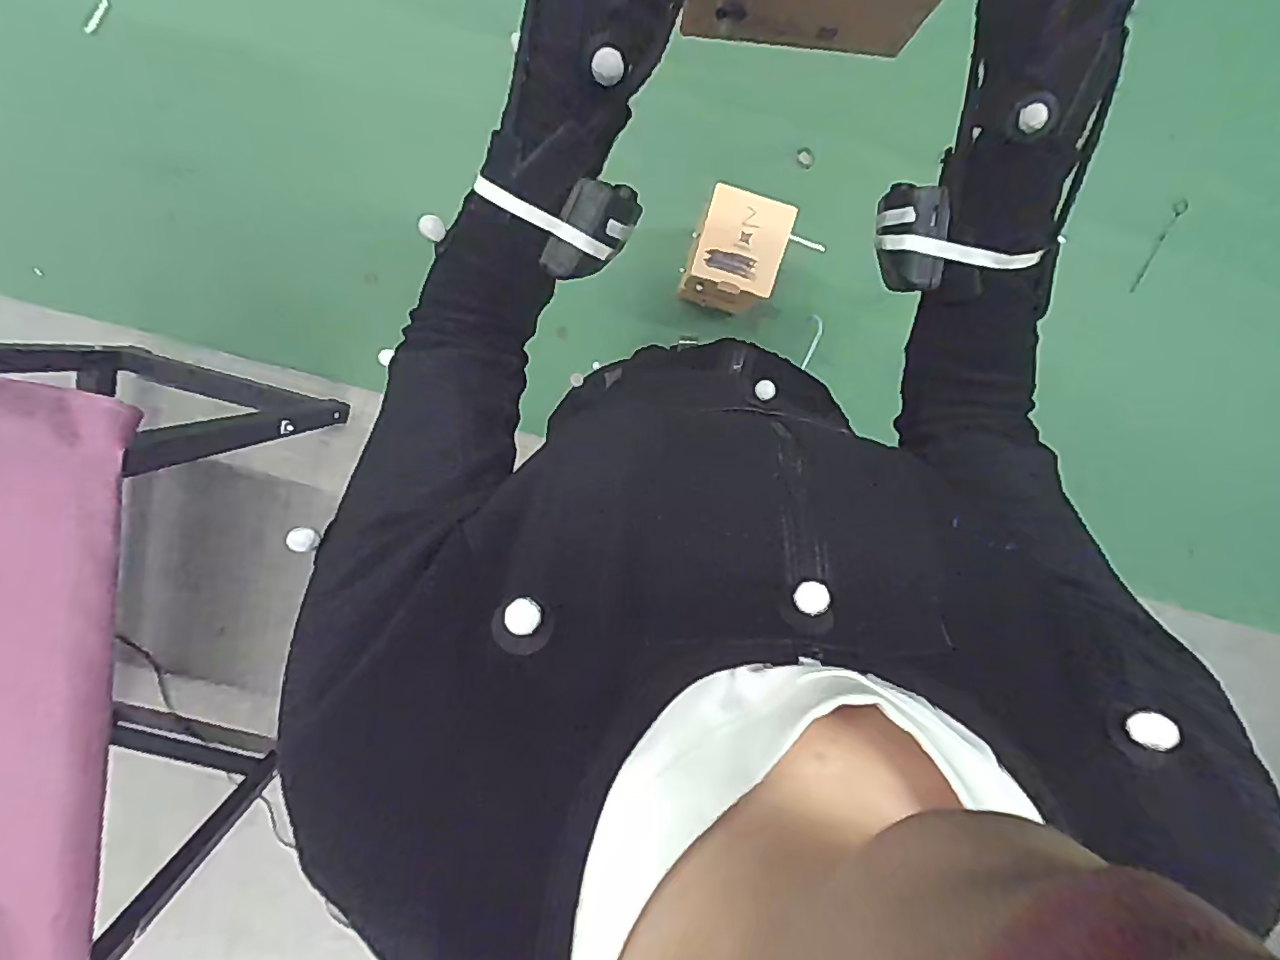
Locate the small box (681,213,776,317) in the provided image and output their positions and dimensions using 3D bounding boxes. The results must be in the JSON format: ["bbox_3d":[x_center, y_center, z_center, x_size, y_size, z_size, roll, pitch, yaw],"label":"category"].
[{"bbox_3d":[0.200,-0.502,1.289,0.168,0.176,0.179,16,102,-3],"label":"small box"}]
